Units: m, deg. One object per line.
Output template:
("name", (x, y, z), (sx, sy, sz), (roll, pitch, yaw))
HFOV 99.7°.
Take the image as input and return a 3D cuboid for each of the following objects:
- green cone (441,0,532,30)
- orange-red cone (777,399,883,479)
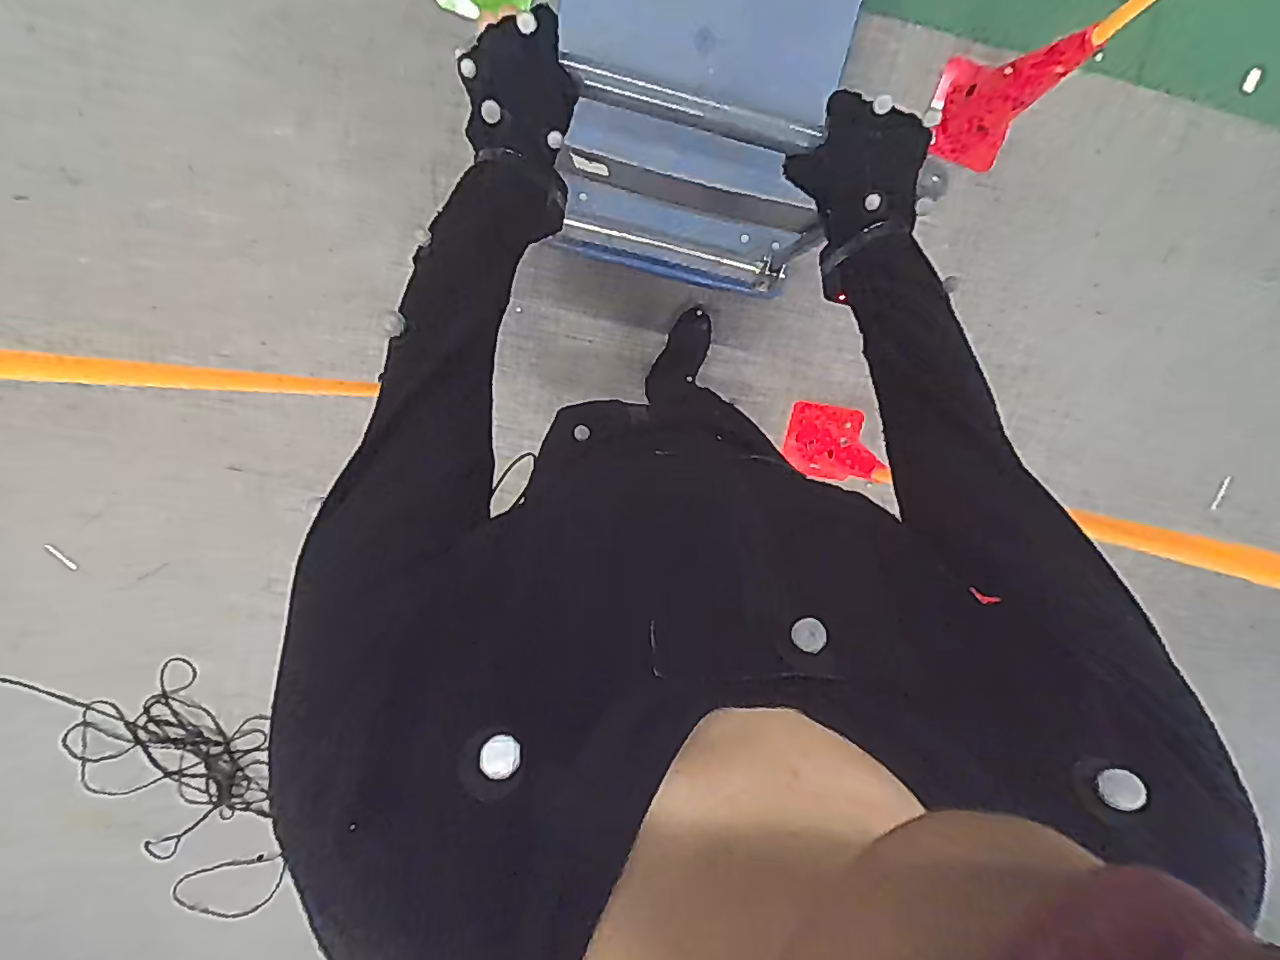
("green cone", (-0.319, -1.067, 1.002), (0.202, 0.368, 0.200), (16, 103, -5))
("orange-red cone", (0.488, -0.068, 1.305), (0.199, 0.360, 0.198), (11, 104, -3))
